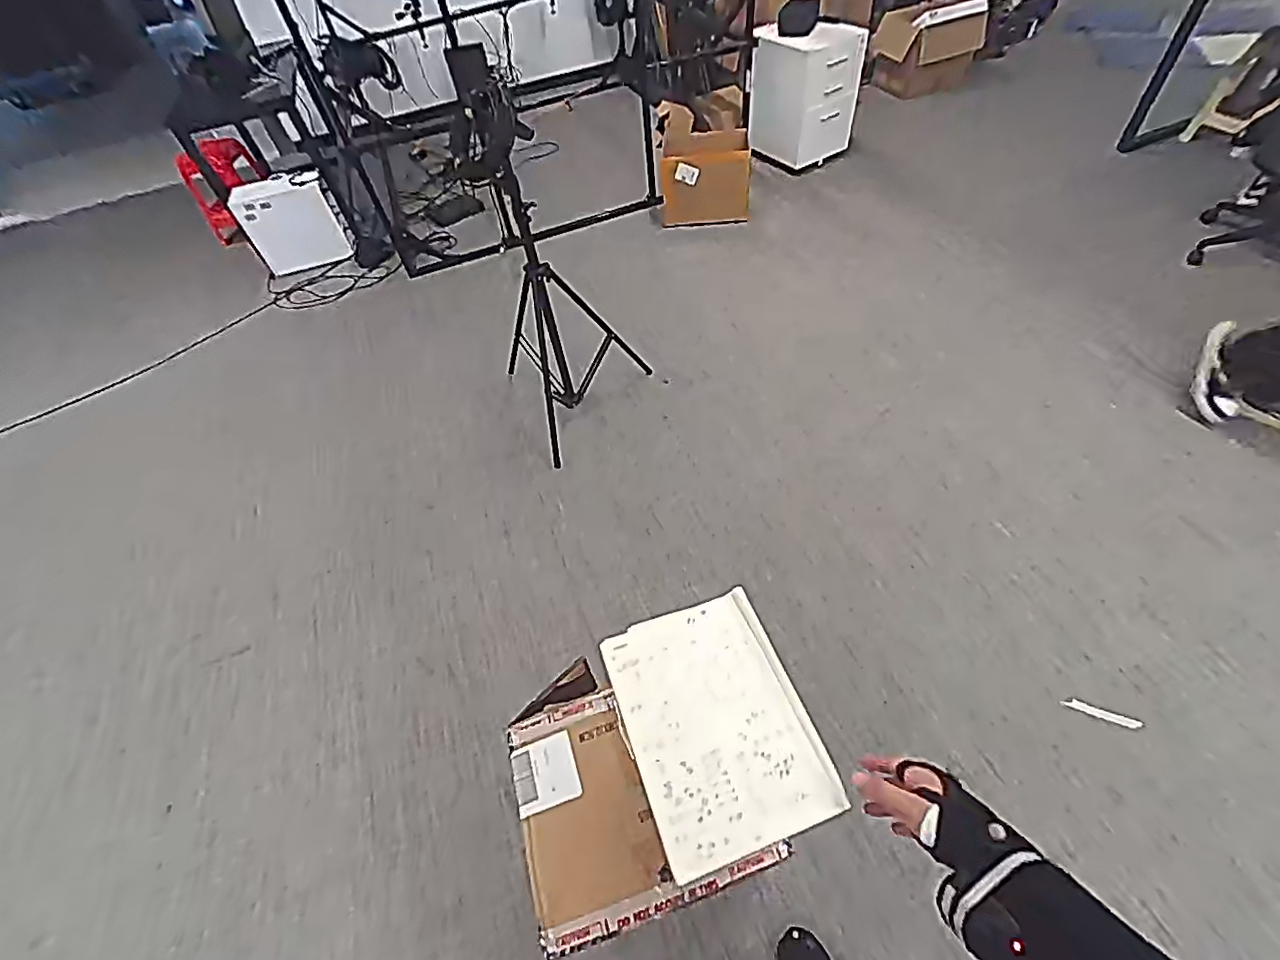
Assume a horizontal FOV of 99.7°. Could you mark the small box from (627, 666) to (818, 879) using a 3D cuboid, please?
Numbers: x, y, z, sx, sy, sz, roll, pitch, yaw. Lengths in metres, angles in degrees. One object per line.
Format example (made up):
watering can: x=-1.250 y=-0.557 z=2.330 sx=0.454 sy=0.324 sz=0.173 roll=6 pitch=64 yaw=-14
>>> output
small box: x=0.089 y=0.365 z=0.672 sx=0.168 sy=0.176 sz=0.179 roll=-18 pitch=54 yaw=-9

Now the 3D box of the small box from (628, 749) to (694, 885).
small box: x=0.095 y=0.467 z=0.801 sx=0.179 sy=0.176 sz=0.168 roll=-21 pitch=53 yaw=-11
